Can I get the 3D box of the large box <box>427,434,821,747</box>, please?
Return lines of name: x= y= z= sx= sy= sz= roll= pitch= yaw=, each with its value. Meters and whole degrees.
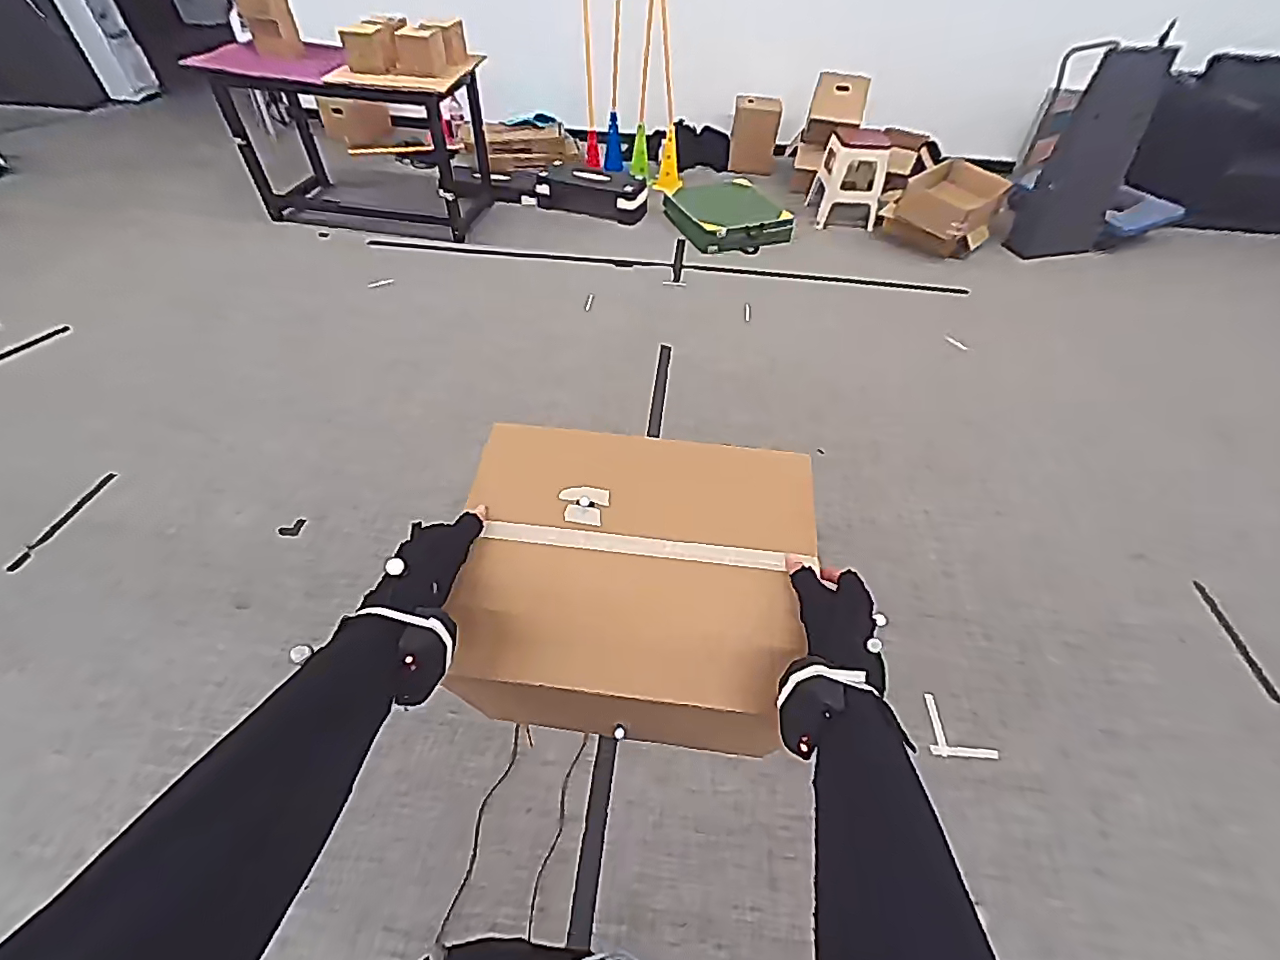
large box: x=-0.002 y=0.163 z=0.741 sx=0.408 sy=0.320 sz=0.320 roll=6 pitch=57 yaw=4
